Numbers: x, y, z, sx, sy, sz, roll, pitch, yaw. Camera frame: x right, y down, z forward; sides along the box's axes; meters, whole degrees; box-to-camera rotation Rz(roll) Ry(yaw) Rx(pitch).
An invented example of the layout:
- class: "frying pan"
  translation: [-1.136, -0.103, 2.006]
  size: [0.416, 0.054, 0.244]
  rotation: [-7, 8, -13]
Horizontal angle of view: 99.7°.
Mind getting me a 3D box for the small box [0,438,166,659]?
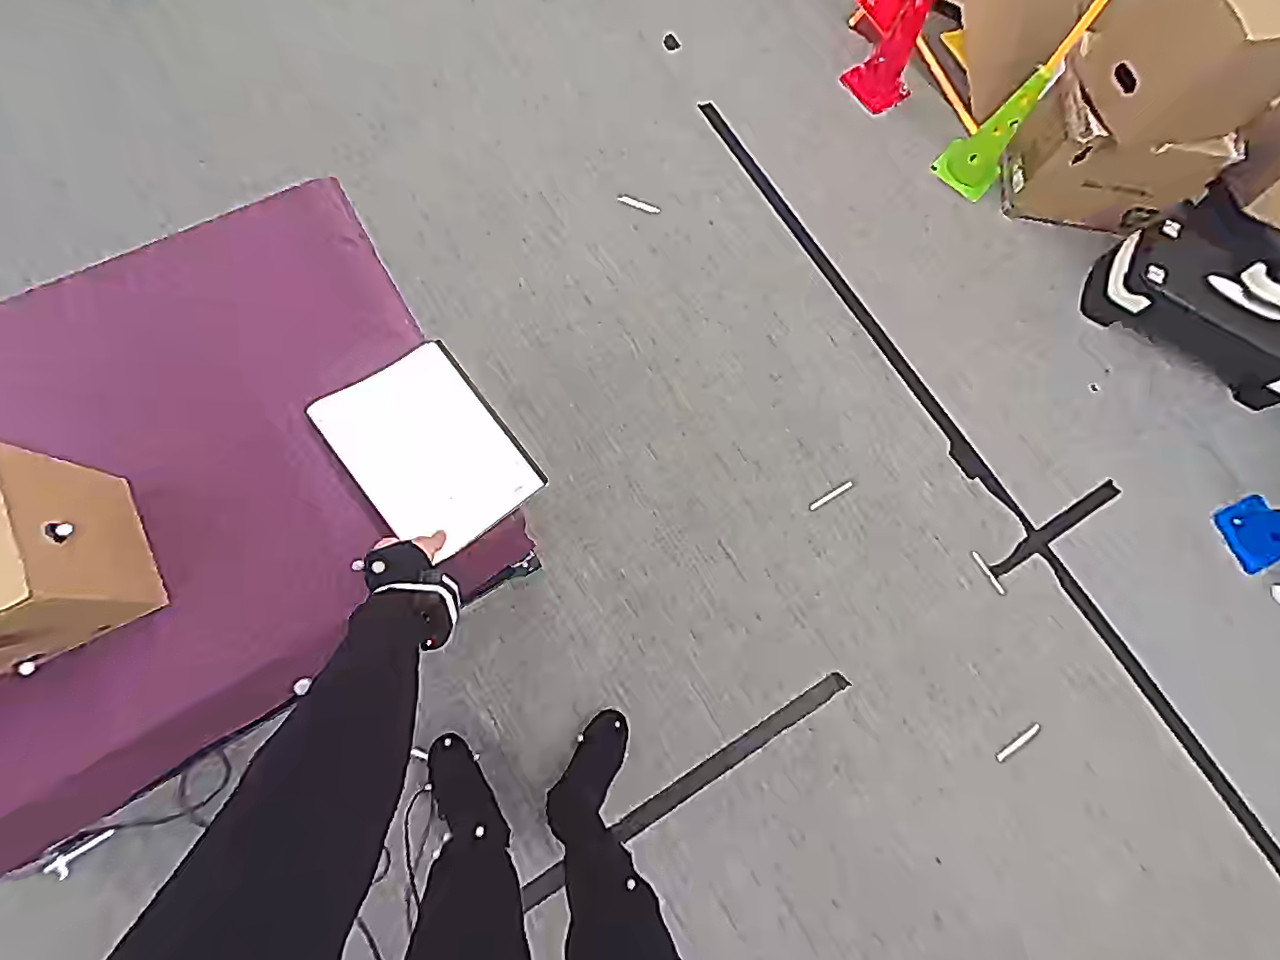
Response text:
- class: "small box"
  translation: [-0.663, 0.081, 0.572]
  size: [0.168, 0.176, 0.179]
  rotation: [-26, 79, -11]
